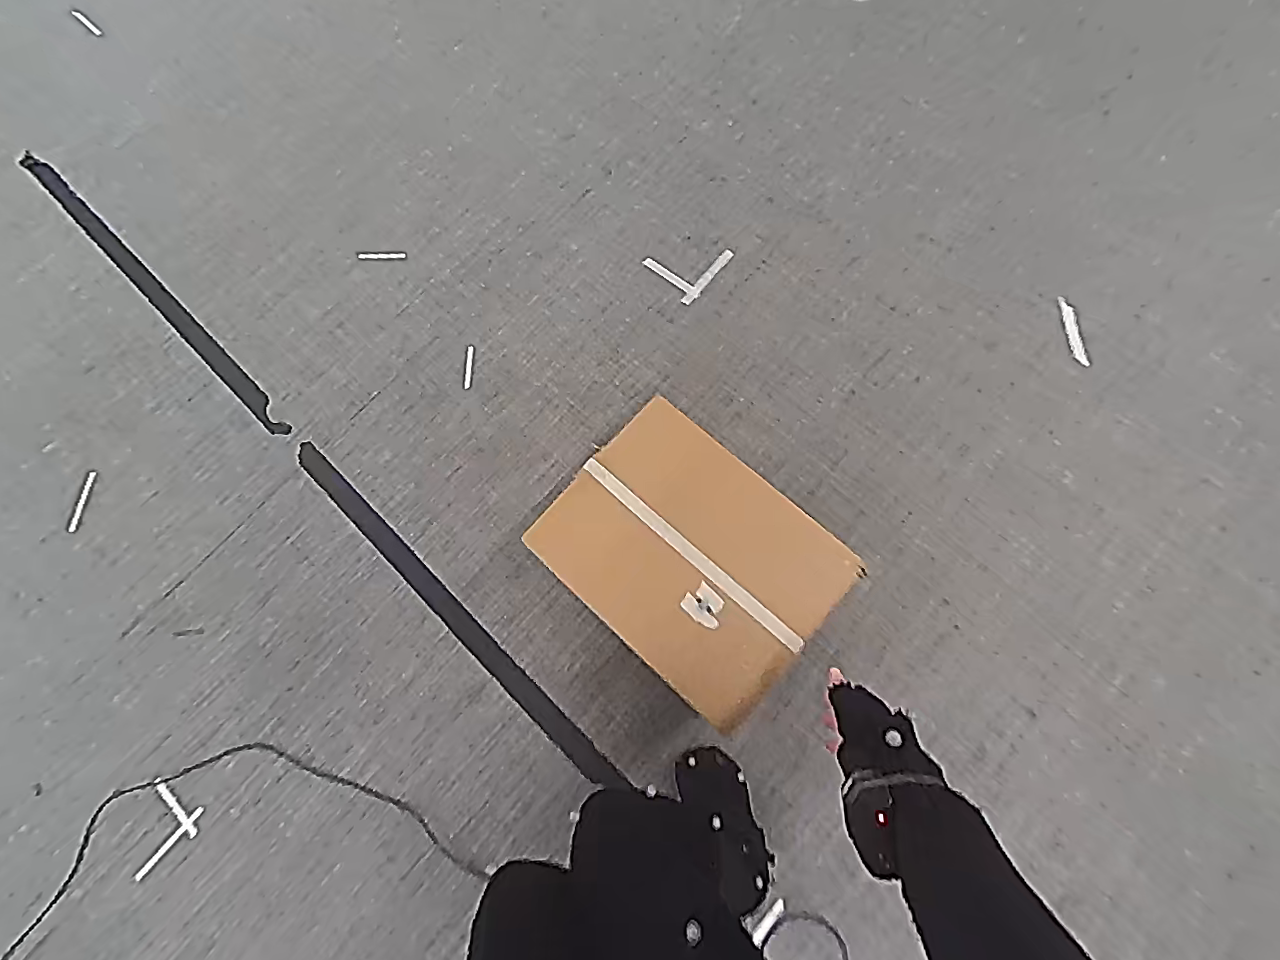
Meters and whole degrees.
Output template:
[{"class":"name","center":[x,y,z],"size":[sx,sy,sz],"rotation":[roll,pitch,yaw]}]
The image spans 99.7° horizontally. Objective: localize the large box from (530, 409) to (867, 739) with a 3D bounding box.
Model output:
[{"class":"large box","center":[0.086,0.156,0.933],"size":[0.408,0.320,0.320],"rotation":[41,81,13]}]
